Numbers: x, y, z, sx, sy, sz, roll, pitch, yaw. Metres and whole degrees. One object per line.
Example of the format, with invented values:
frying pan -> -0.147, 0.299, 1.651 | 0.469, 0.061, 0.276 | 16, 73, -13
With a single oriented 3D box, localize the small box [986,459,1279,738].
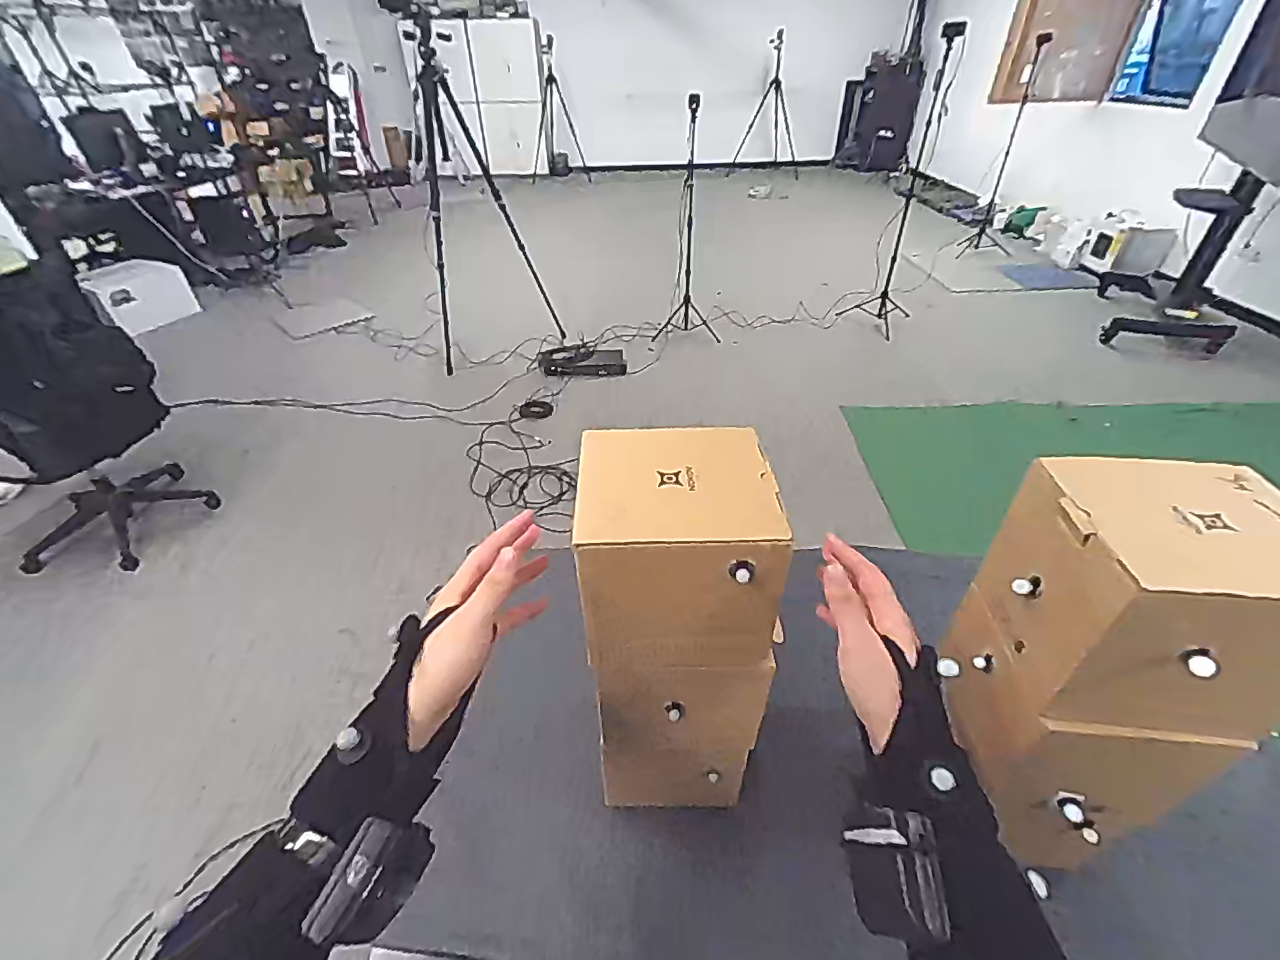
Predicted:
small box -> 0.433, 0.099, 0.469 | 0.179, 0.176, 0.168 | 4, 38, 8

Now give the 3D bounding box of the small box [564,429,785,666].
small box -> 0.027, 0.065, 0.527 | 0.179, 0.176, 0.168 | -1, 38, -1

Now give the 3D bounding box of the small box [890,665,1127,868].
small box -> 0.440, 0.355, 0.671 | 0.179, 0.176, 0.168 | 2, 37, 5

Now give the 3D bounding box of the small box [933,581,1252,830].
small box -> 0.436, 0.231, 0.567 | 0.168, 0.176, 0.179 | 2, 39, 7

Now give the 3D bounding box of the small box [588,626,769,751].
small box -> 0.039, 0.194, 0.626 | 0.179, 0.176, 0.168 | 0, 38, 1
